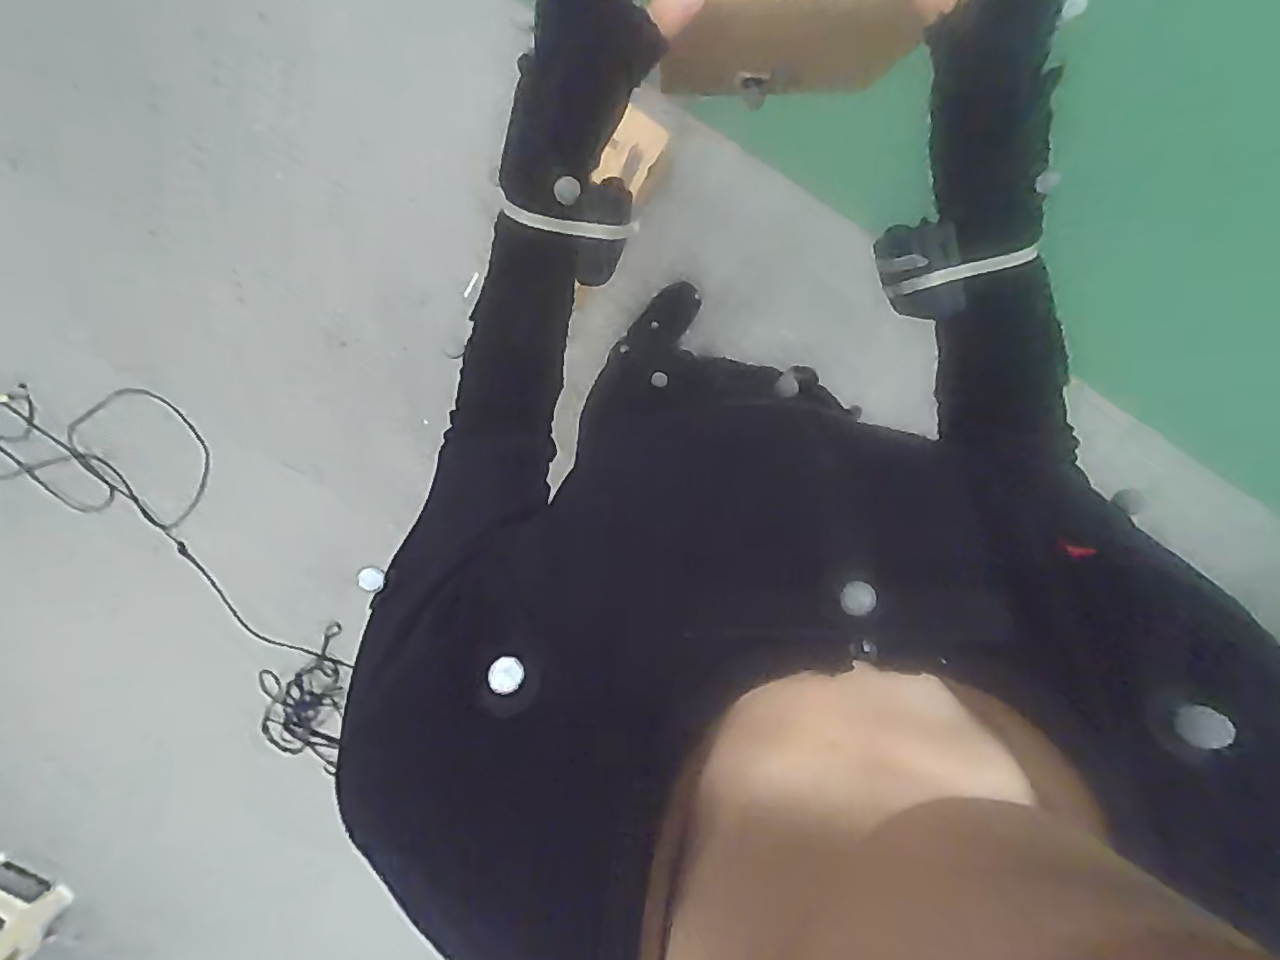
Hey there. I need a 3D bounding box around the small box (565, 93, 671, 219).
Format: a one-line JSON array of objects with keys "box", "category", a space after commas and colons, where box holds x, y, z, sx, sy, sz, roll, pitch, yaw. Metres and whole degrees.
[{"box": [-0.041, -0.722, 1.233, 0.179, 0.176, 0.168, 33, 104, -4], "category": "small box"}]

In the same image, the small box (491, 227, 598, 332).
[{"box": [-0.224, -0.472, 1.310, 0.179, 0.176, 0.168, 37, 103, -6], "category": "small box"}]

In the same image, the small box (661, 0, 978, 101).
[{"box": [0.098, -0.357, 0.323, 0.168, 0.176, 0.179, 1, 111, 2], "category": "small box"}]
